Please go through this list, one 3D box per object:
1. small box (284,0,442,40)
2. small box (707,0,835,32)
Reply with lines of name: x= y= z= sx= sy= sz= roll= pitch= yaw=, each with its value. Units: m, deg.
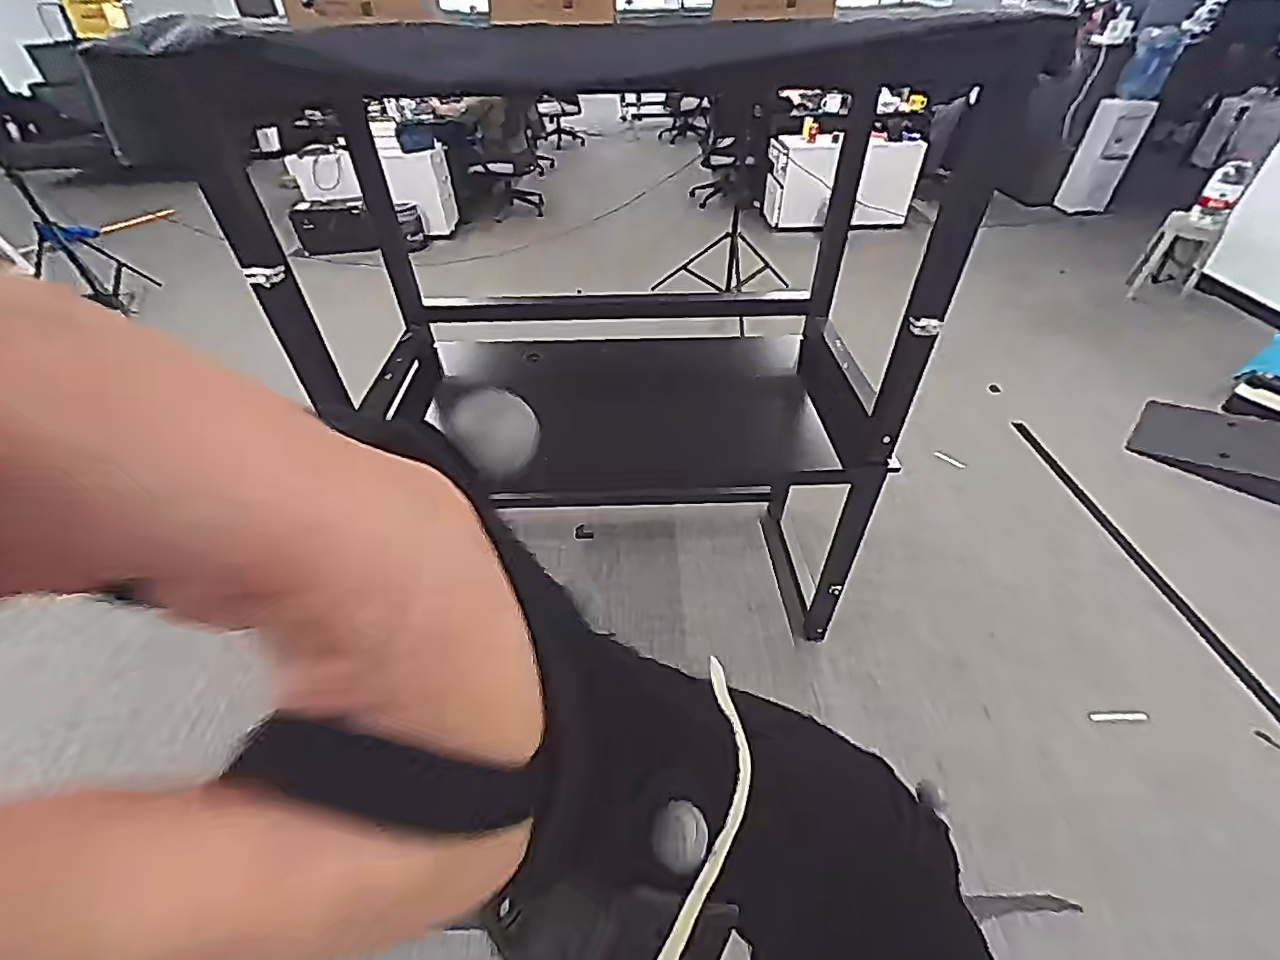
small box: x=-0.373 y=-0.690 z=0.709 sx=0.168 sy=0.176 sz=0.179 roll=-3 pitch=40 yaw=-3
small box: x=0.180 y=-0.716 z=0.726 sx=0.168 sy=0.176 sz=0.179 roll=4 pitch=42 yaw=6
